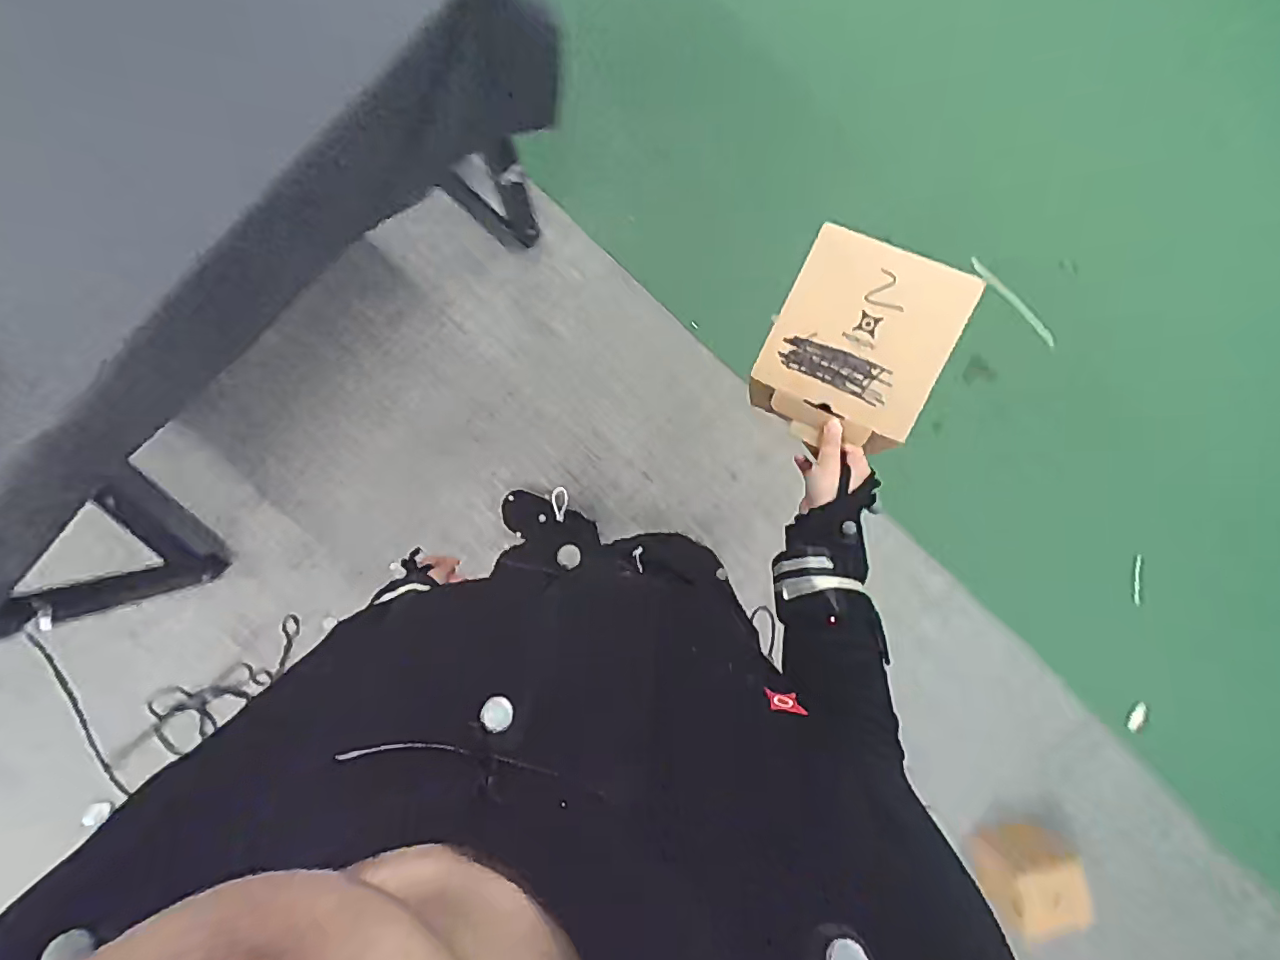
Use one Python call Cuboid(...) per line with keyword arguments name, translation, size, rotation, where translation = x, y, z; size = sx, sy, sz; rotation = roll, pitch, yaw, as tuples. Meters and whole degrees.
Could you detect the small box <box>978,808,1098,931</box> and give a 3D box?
Cuboid(name="small box", translation=(0.991, 0.973, 1.366), size=(0.179, 0.176, 0.168), rotation=(-12, 93, -4))
